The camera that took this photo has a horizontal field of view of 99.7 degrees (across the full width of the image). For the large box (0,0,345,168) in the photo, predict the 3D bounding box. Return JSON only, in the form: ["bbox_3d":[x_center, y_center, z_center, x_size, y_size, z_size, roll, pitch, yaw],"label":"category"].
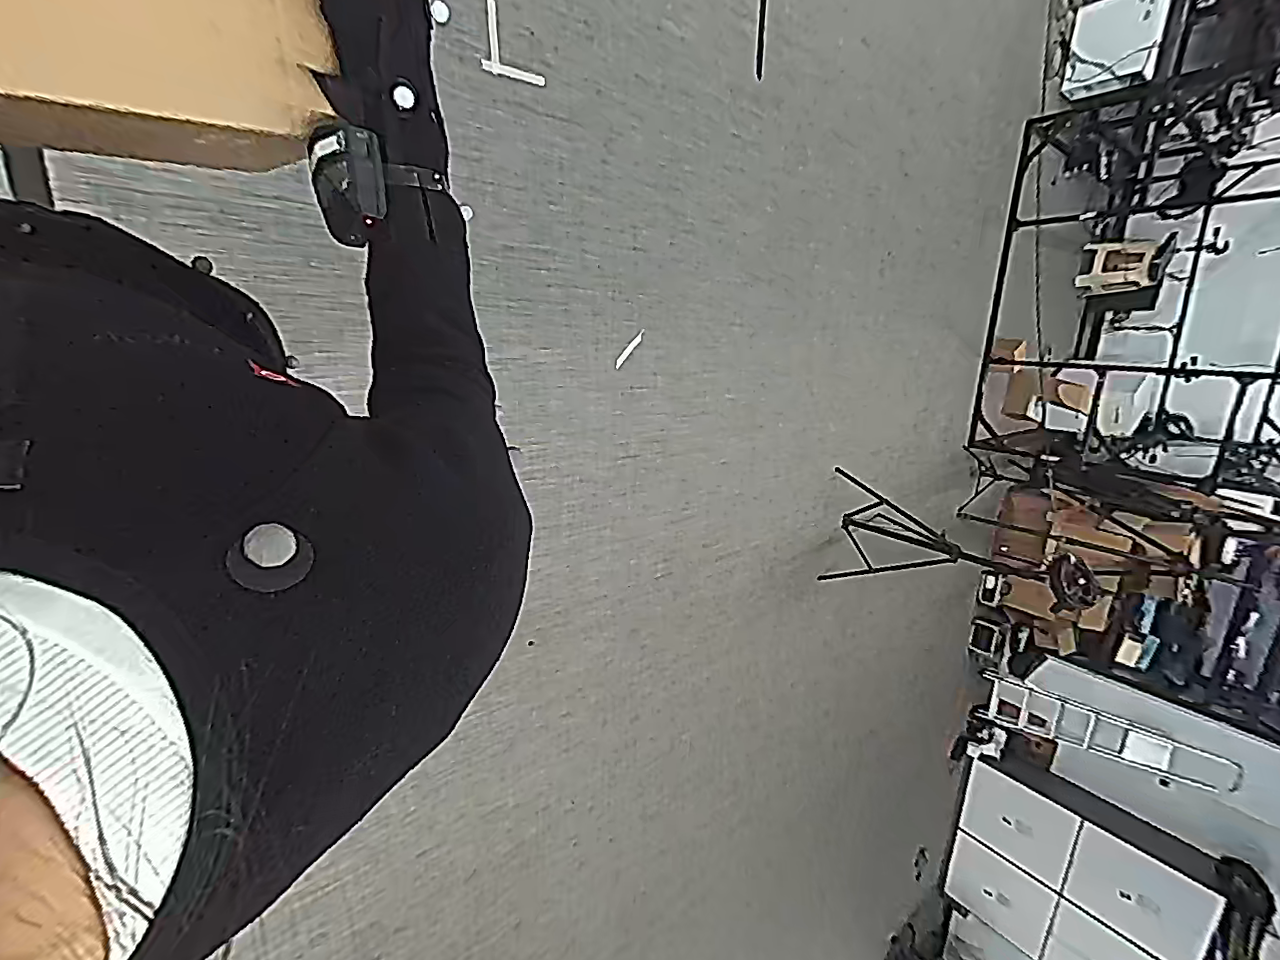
[{"bbox_3d":[-0.457,-0.388,0.313,0.408,0.320,0.320,-18,121,-39],"label":"large box"}]
